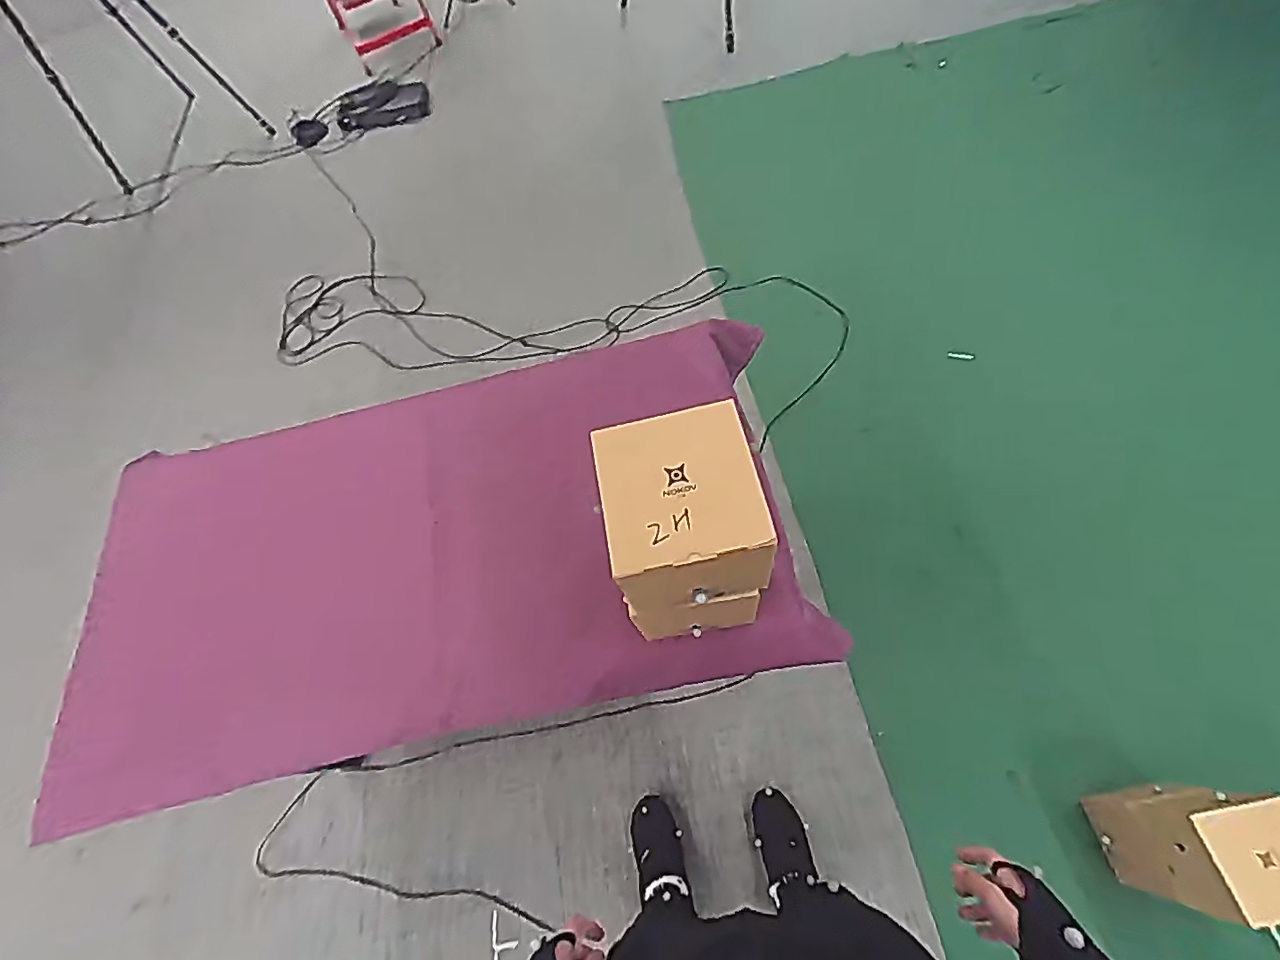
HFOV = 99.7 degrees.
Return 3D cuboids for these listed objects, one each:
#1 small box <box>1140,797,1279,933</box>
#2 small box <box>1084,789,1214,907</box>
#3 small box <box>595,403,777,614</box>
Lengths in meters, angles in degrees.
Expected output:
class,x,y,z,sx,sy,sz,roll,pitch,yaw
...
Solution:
class,x,y,z,sx,sy,sz,roll,pitch,yaw
small box,1.080,0.691,0.987,0.179,0.176,0.168,-12,62,1
small box,1.099,0.759,1.131,0.179,0.176,0.168,-13,62,3
small box,0.052,0.040,0.634,0.168,0.176,0.179,-12,63,4
